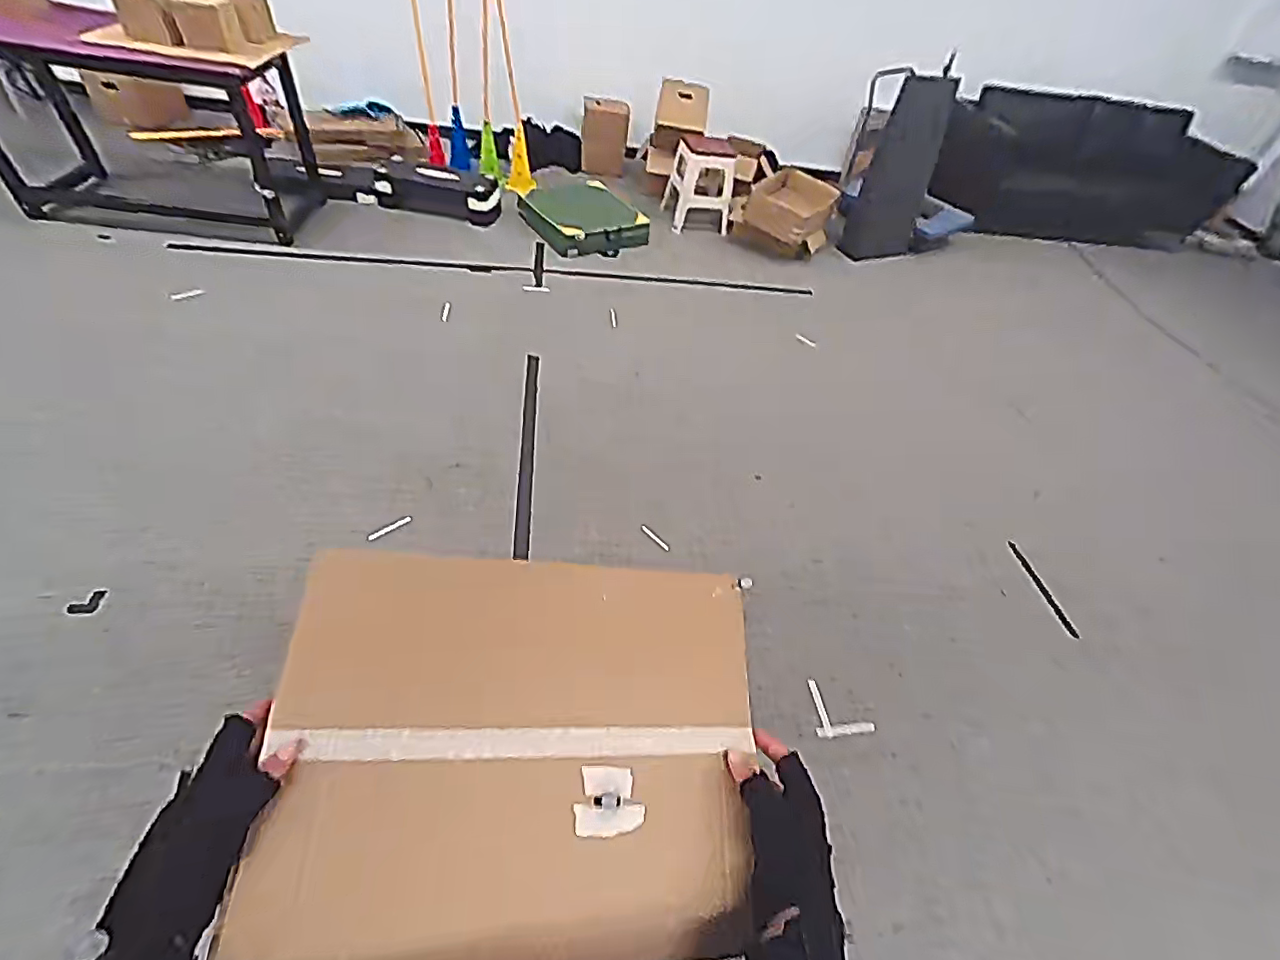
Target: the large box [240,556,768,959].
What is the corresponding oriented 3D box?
[{"bbox_3d":[-0.121,0.289,0.601,0.408,0.320,0.320,6,65,-12],"label":"large box"}]
